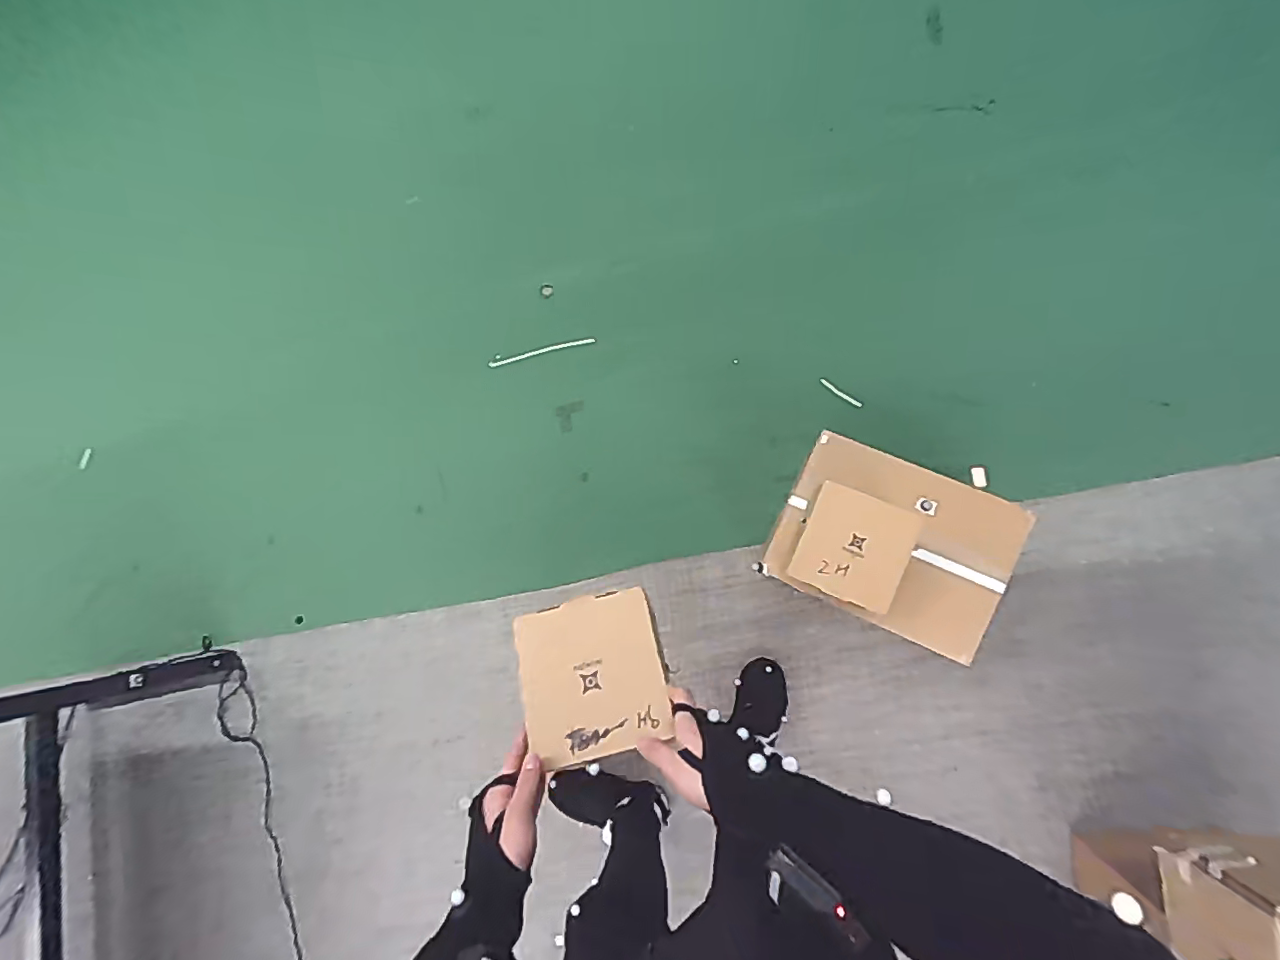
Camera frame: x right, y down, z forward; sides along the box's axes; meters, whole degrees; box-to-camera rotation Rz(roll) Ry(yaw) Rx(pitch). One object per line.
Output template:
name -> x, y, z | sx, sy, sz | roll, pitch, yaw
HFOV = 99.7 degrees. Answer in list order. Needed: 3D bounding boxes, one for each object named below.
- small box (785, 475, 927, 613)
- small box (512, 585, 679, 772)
small box -> 0.365, 0.110, 0.949 | 0.168, 0.176, 0.179 | 23, 89, 13
small box -> -0.051, 0.255, 0.686 | 0.168, 0.176, 0.179 | -15, 63, -1
